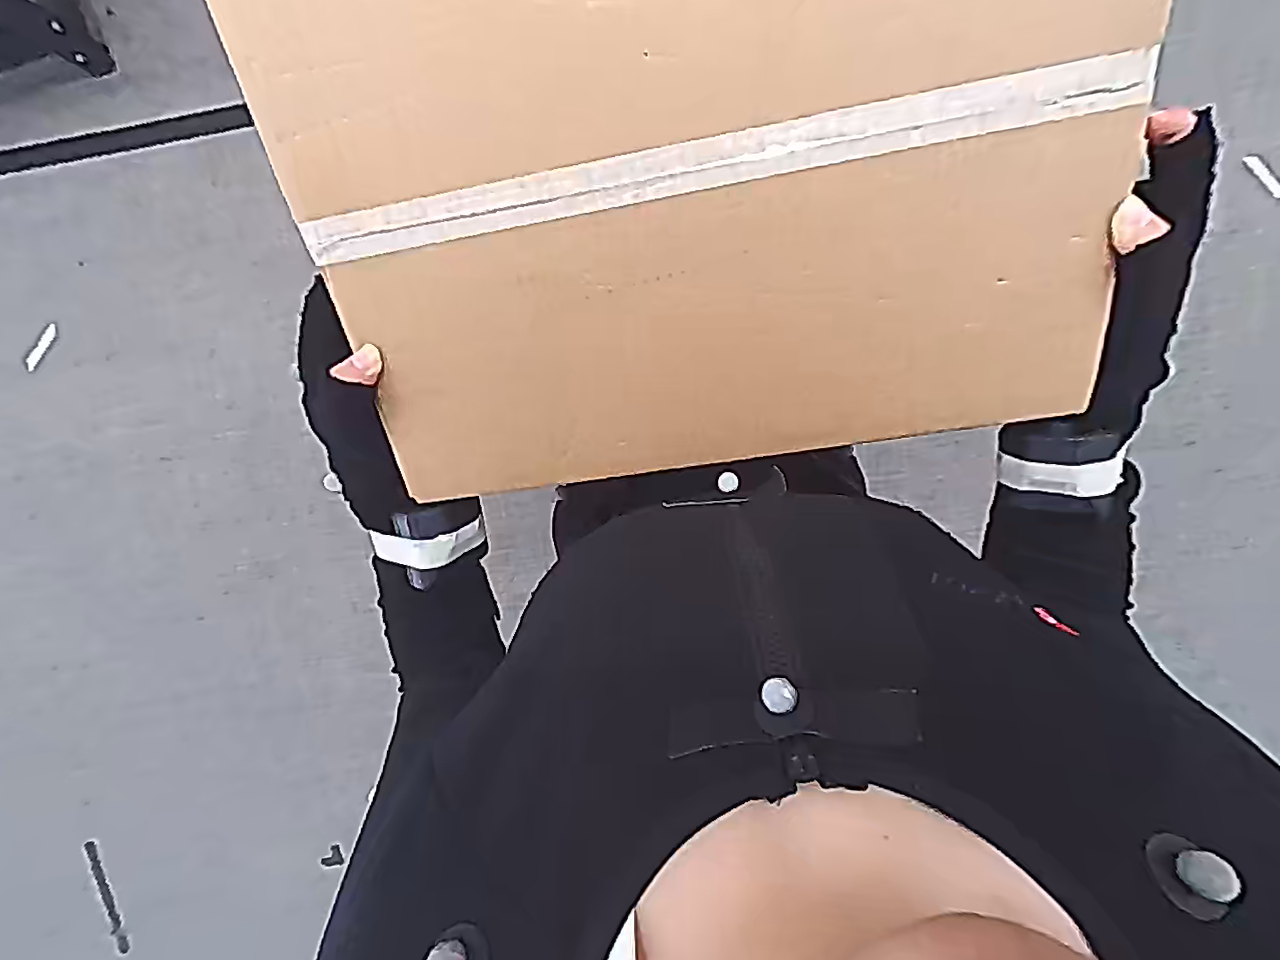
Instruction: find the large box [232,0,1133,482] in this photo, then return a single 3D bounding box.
[{"bbox_3d":[0.027,-0.226,0.403,0.408,0.320,0.320,-8,117,6],"label":"large box"}]
